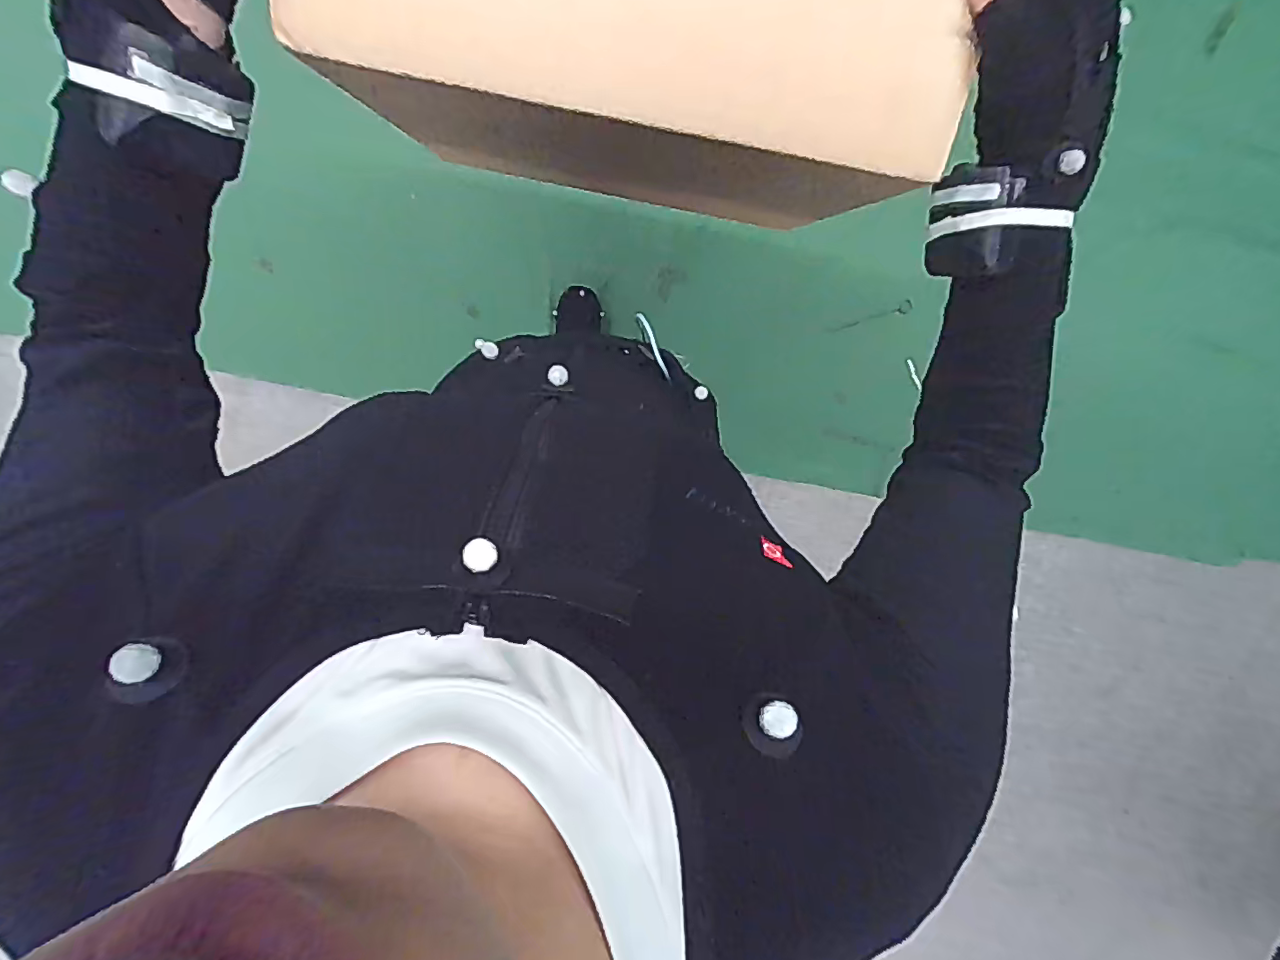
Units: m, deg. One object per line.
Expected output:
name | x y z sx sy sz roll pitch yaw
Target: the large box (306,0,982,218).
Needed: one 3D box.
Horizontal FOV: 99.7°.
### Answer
large box | 0.013 -0.421 0.428 0.408 0.320 0.320 8 110 -5
